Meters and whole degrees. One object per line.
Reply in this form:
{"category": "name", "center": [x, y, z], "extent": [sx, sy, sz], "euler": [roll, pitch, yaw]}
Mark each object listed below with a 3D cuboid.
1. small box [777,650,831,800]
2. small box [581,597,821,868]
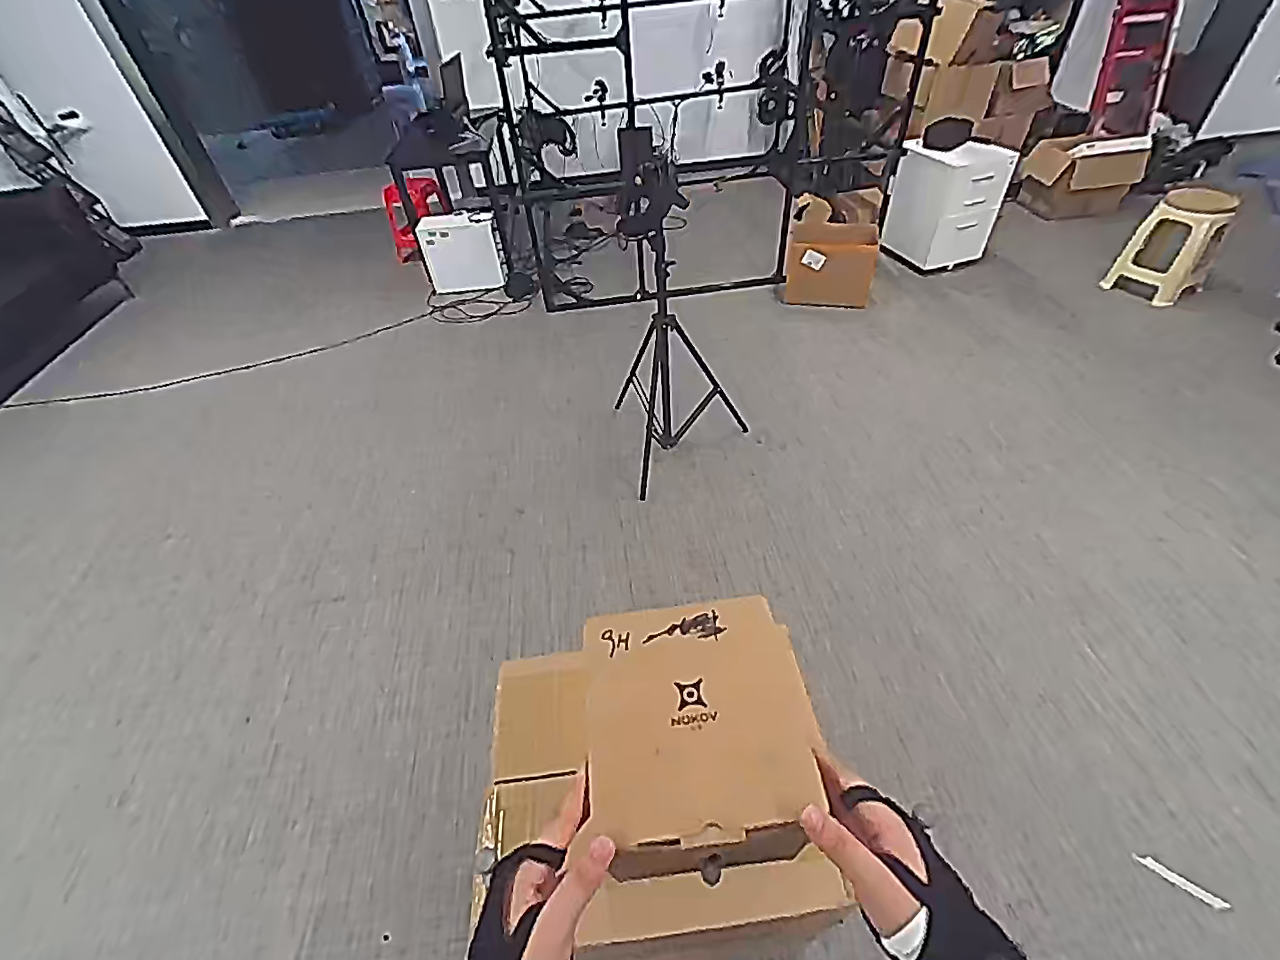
{"category": "small box", "center": [0.147, 0.367, 0.761], "extent": [0.168, 0.176, 0.179], "euler": [-8, 45, -1]}
{"category": "small box", "center": [0.043, 0.230, 0.483], "extent": [0.168, 0.176, 0.179], "euler": [-8, 49, -1]}
